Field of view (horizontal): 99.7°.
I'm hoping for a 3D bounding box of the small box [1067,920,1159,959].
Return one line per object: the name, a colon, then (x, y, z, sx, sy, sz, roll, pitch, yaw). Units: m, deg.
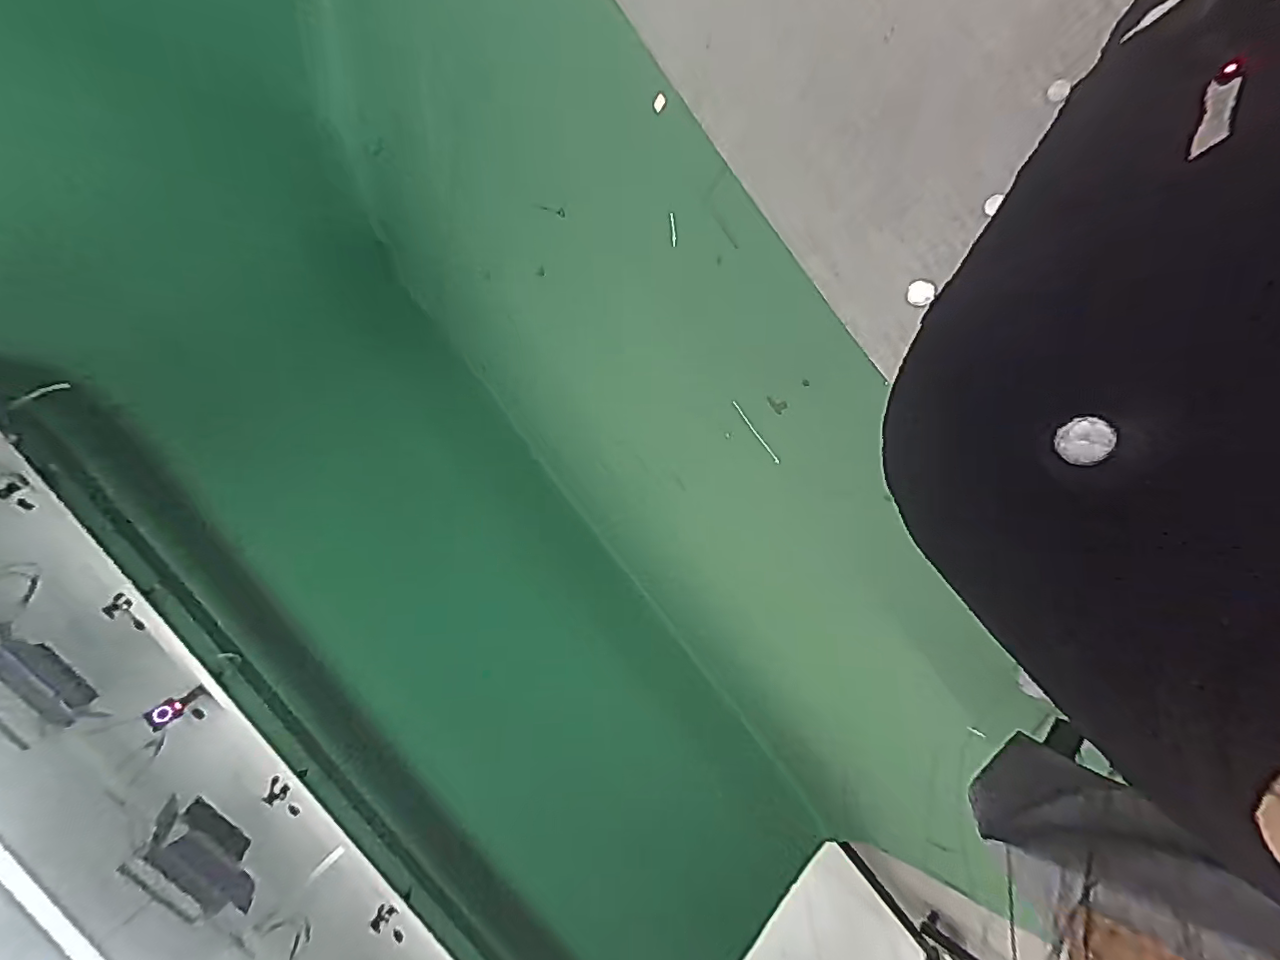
small box: (0.955, 1.017, 1.043, 0.179, 0.176, 0.168, 52, 156, -6)
